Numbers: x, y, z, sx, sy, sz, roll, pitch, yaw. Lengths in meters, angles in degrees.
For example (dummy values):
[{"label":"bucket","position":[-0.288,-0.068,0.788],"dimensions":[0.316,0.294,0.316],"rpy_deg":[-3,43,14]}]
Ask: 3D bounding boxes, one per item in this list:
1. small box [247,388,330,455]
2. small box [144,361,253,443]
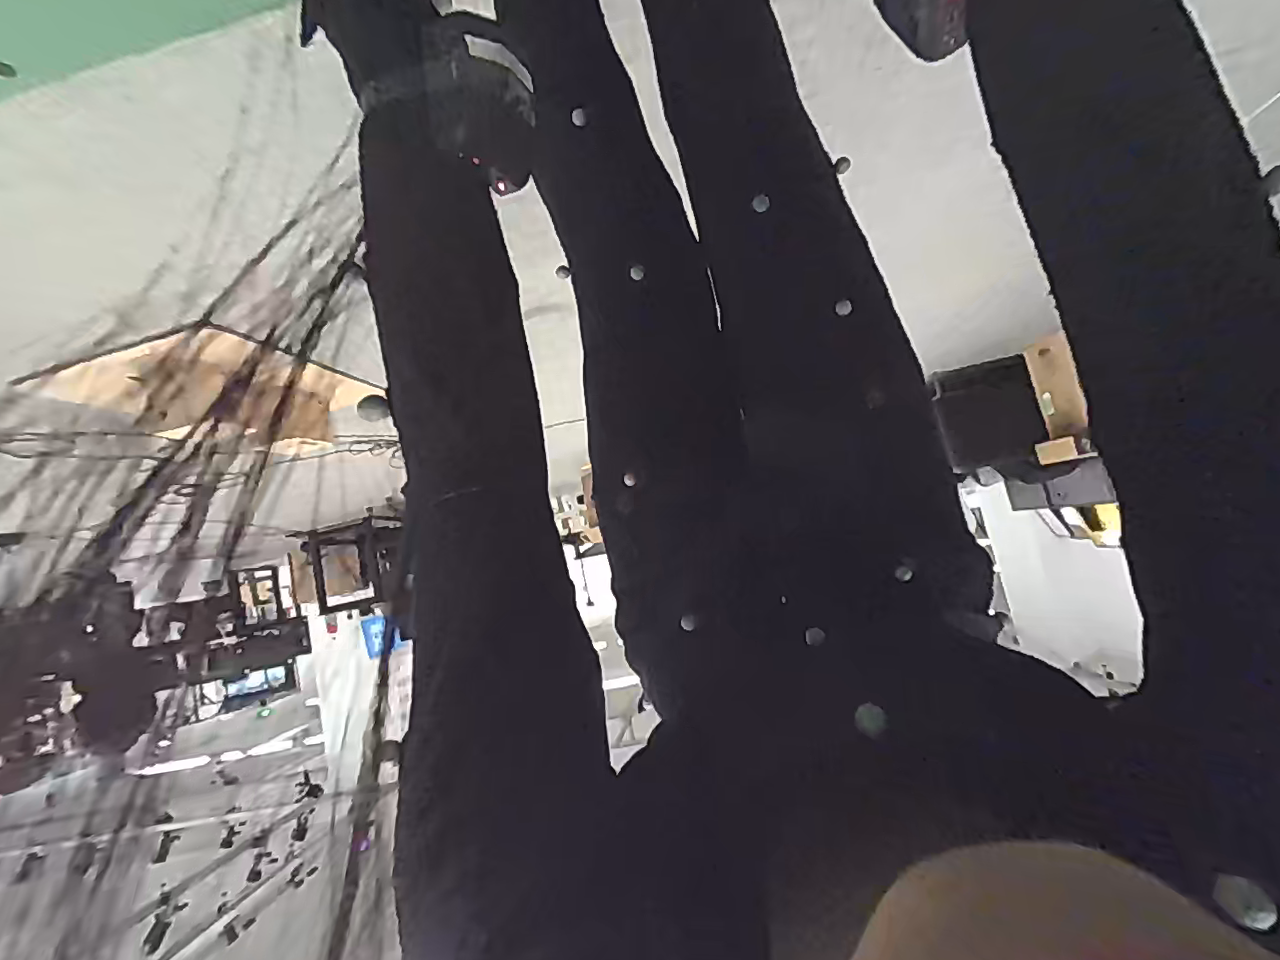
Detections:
[{"label":"small box","position":[-1.160,-0.190,1.769],"dimensions":[0.179,0.176,0.168],"rpy_deg":[-13,173,10]},{"label":"small box","position":[-1.223,-0.212,1.498],"dimensions":[0.179,0.176,0.168],"rpy_deg":[-13,174,4]}]
